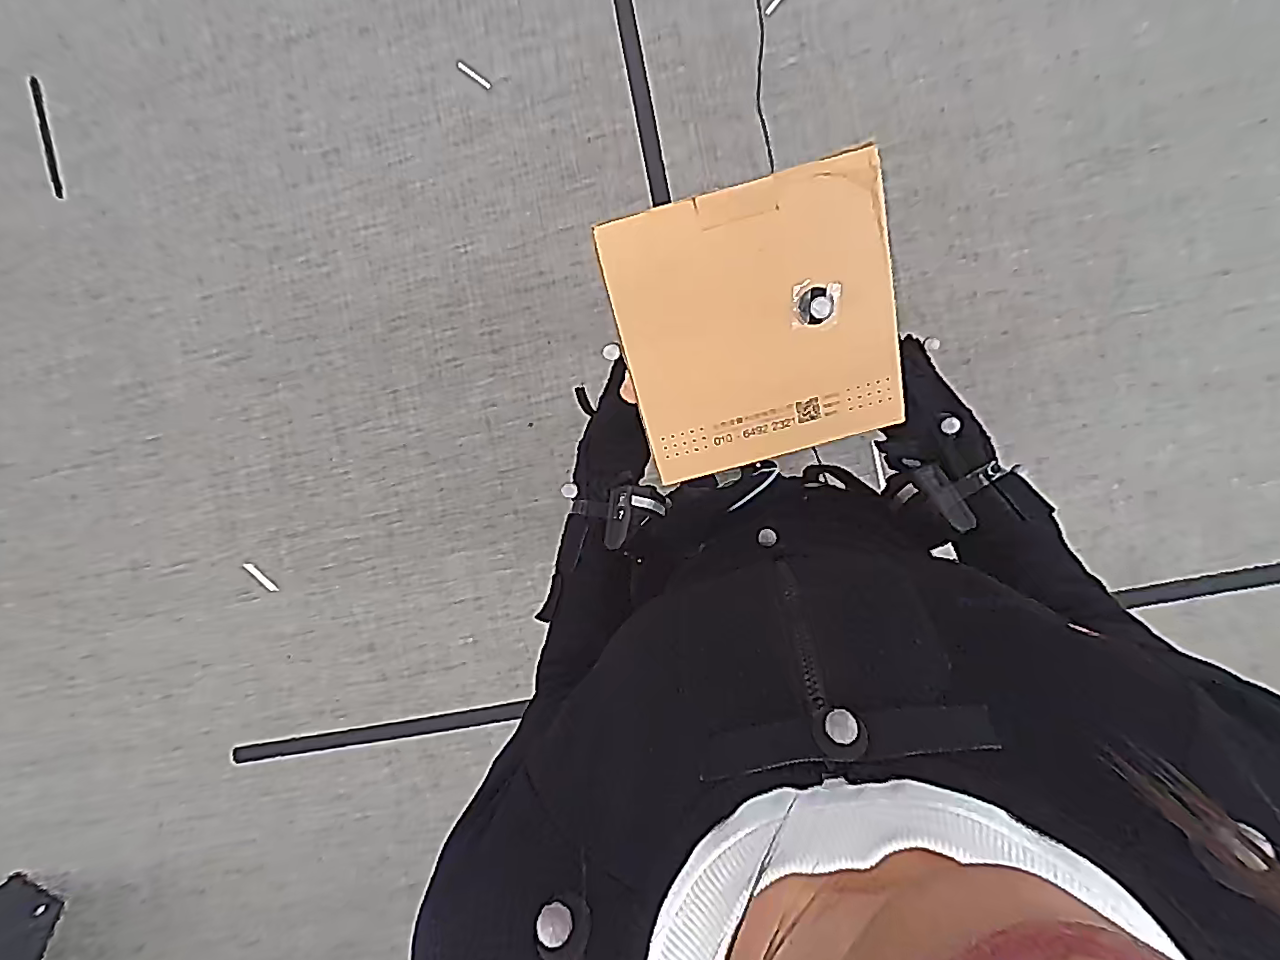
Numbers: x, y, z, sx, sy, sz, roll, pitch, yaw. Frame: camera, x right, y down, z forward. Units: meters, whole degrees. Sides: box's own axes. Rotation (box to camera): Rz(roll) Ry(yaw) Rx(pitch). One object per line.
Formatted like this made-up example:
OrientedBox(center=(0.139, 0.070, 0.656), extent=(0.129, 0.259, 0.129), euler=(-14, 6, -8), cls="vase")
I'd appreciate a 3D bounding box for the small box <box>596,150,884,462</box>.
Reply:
OrientedBox(center=(0.072, -0.125, 0.422), extent=(0.168, 0.179, 0.176), euler=(-14, 111, 5), cls="small box")
